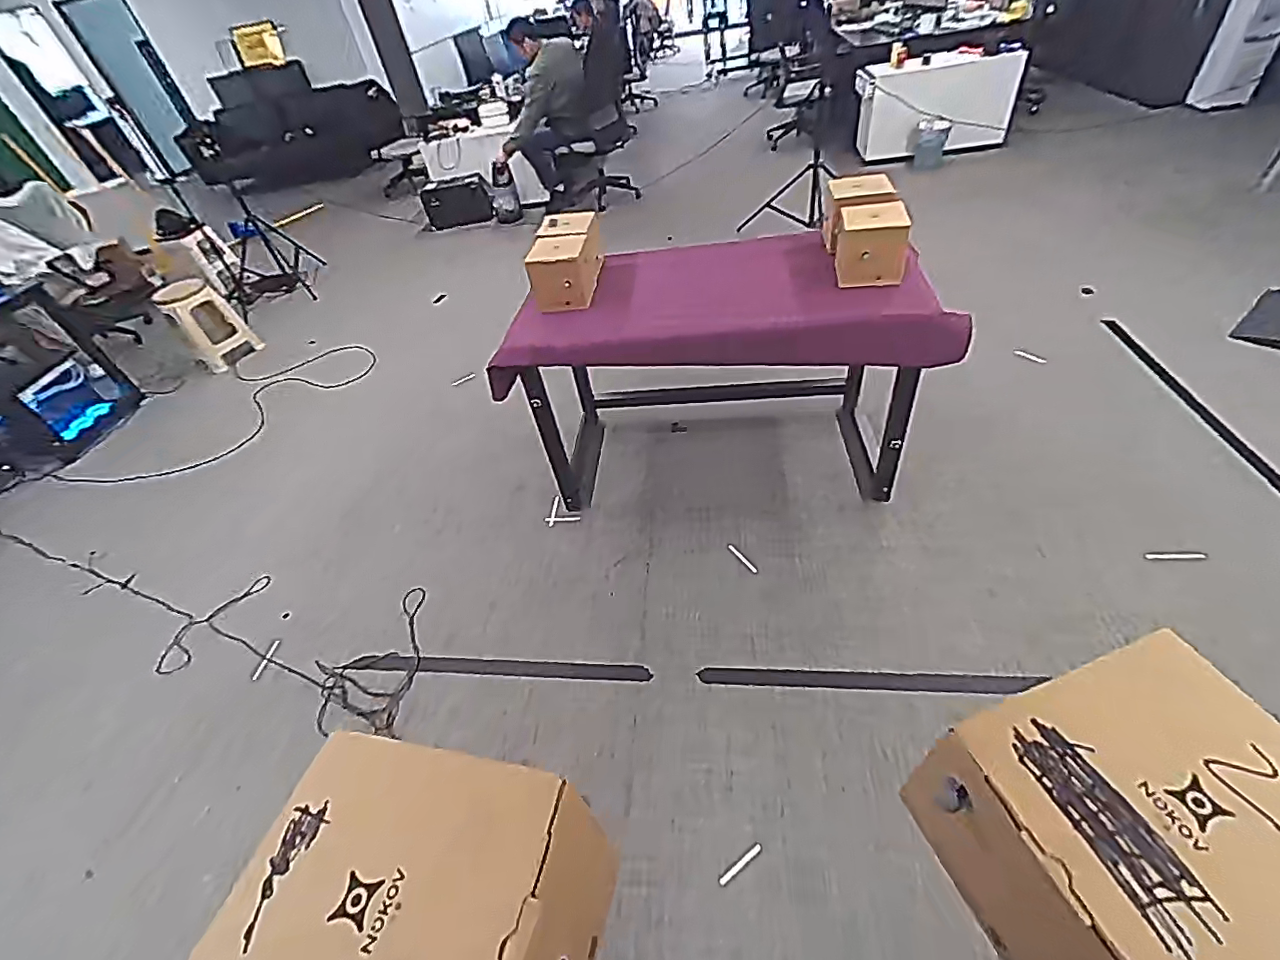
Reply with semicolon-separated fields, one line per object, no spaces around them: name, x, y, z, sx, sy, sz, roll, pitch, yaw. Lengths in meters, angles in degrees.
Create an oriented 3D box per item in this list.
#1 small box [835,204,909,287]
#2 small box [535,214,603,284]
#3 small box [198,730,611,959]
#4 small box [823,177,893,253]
small box;0.655;-0.664;1.545;0.168;0.176;0.179;1;44;14
small box;-0.235;-0.779;1.837;0.179;0.176;0.168;0;47;10
small box;-0.128;0.288;0.342;0.179;0.176;0.168;3;43;15
small box;0.675;-0.826;1.697;0.179;0.176;0.168;-1;46;10
